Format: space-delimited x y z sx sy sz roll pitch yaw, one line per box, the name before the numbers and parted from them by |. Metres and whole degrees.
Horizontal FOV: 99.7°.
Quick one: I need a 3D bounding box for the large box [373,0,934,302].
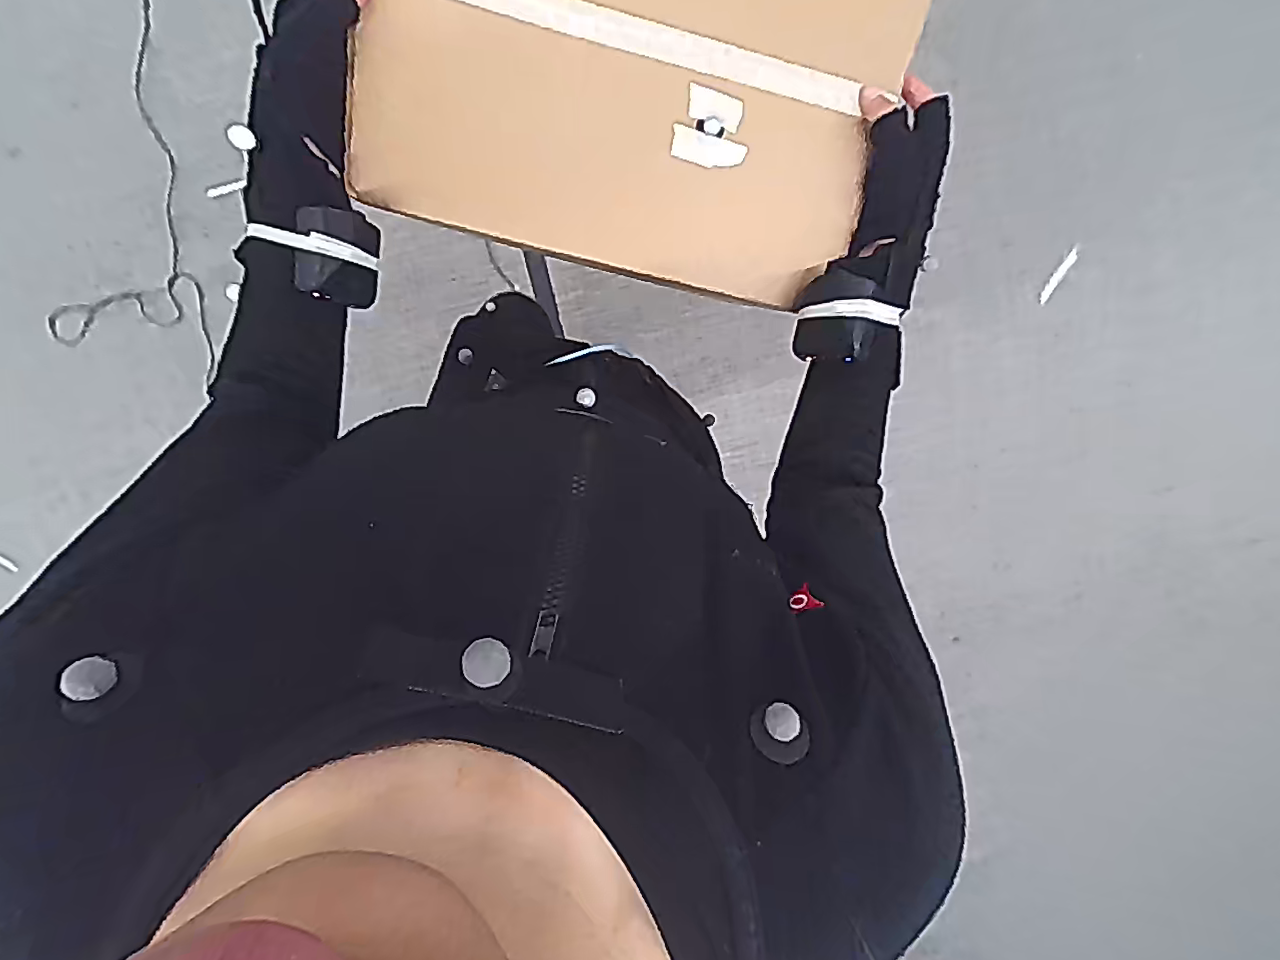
large box | 0.002 -0.386 0.544 0.408 0.320 0.320 12 111 -8
